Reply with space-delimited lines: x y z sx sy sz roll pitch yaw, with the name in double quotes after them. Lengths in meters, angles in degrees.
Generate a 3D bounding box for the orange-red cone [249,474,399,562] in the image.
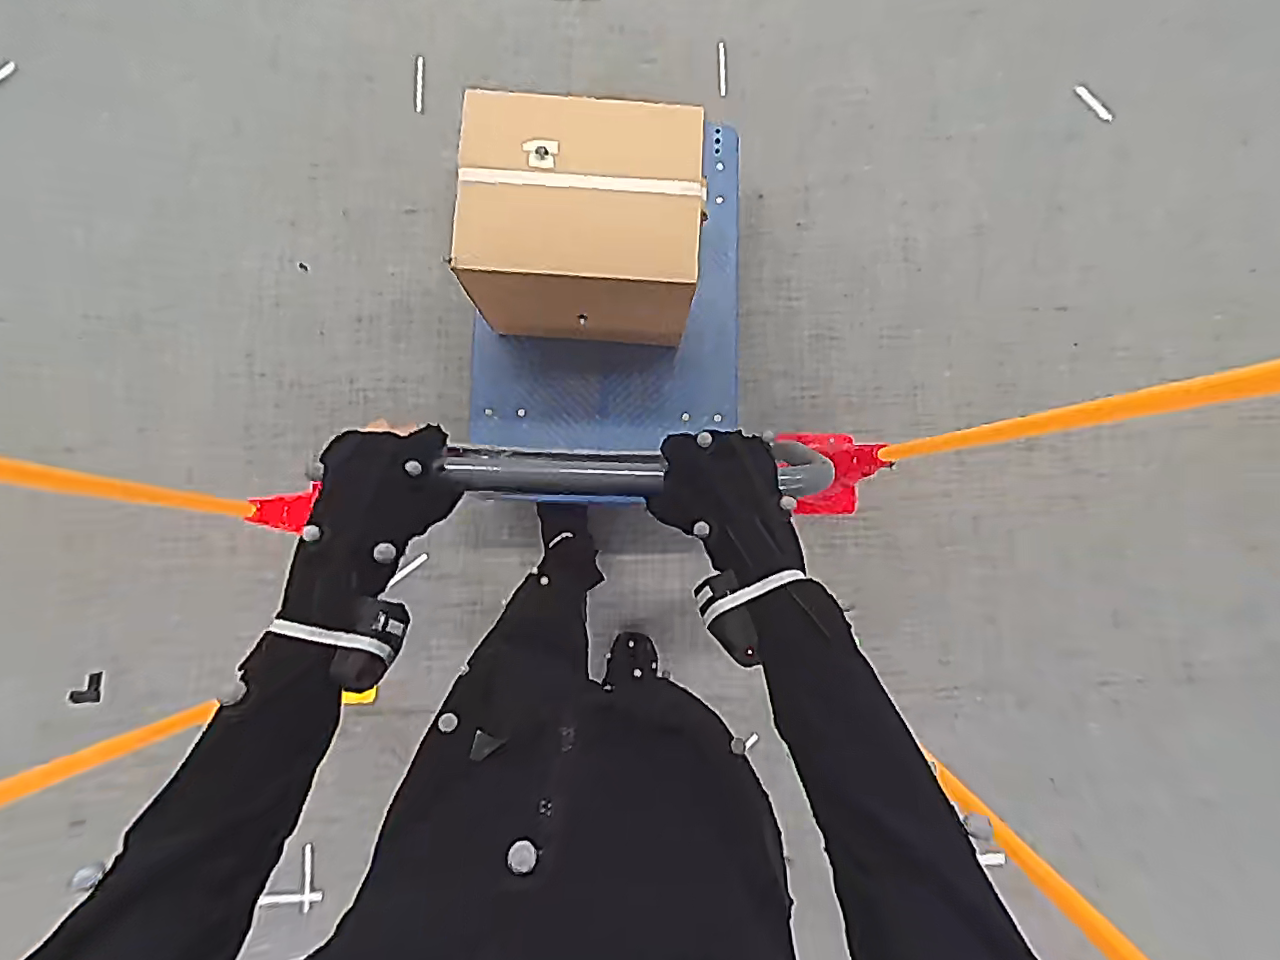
-0.686 0.070 1.135 0.198 0.360 0.199 7 82 -1 "orange-red cone"

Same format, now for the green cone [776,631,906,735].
0.431 0.447 1.116 0.202 0.368 0.200 3 84 -2 "green cone"

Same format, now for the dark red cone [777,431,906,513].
0.444 -0.037 1.150 0.201 0.394 0.202 -1 84 -3 "dark red cone"

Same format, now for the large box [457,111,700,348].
-0.100 -0.458 1.057 0.408 0.320 0.320 3 85 0 "large box"
